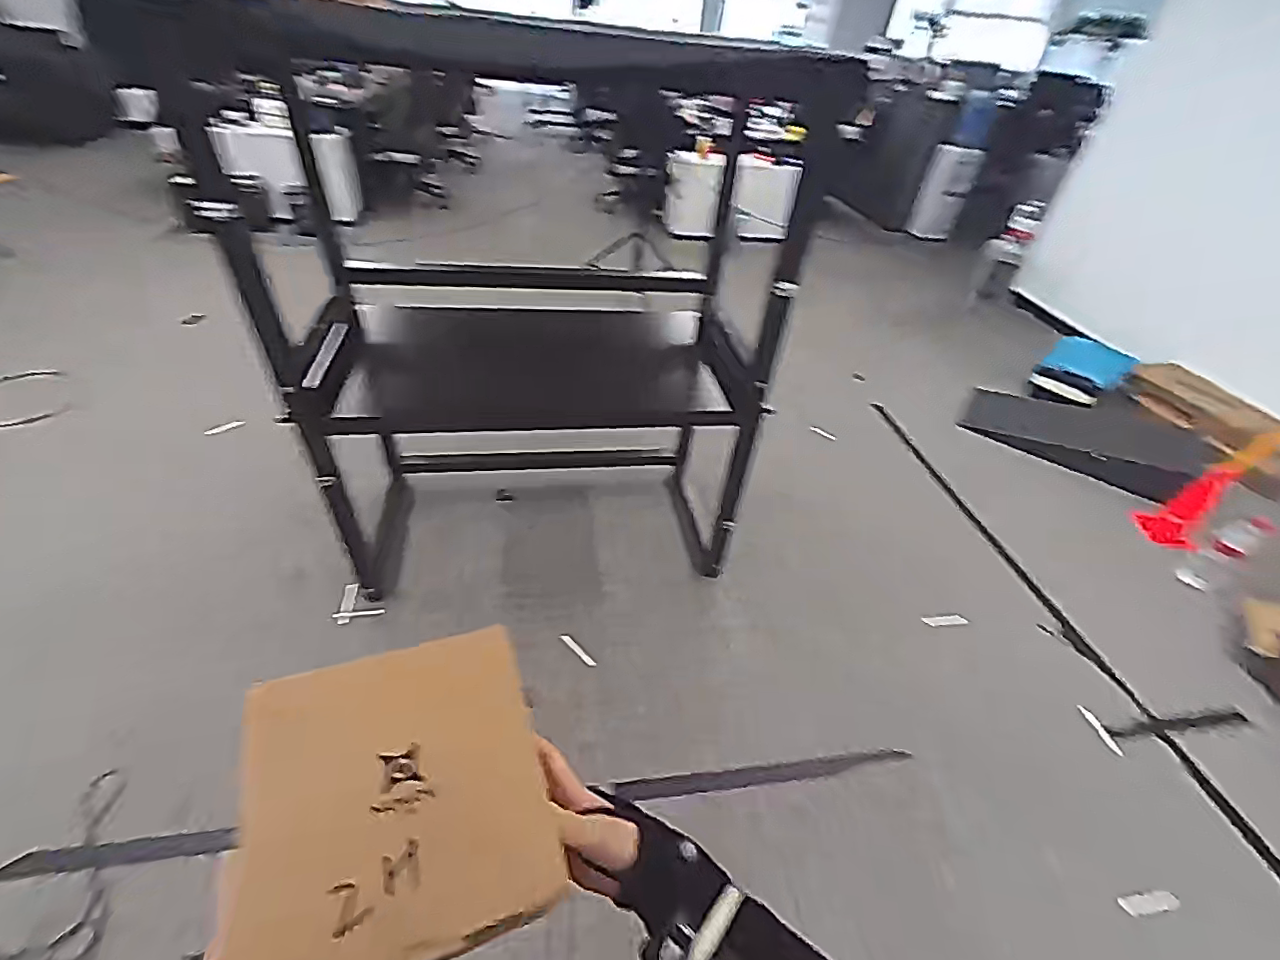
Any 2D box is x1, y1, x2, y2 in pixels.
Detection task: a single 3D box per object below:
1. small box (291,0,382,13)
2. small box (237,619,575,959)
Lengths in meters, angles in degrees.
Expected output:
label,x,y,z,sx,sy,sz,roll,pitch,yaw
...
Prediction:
label,x,y,z,sx,sy,sz,roll,pitch,yaw
small box,-0.515,-0.852,0.844,0.168,0.176,0.179,-2,41,-12
small box,-0.159,0.230,0.381,0.168,0.176,0.179,-9,52,-24
